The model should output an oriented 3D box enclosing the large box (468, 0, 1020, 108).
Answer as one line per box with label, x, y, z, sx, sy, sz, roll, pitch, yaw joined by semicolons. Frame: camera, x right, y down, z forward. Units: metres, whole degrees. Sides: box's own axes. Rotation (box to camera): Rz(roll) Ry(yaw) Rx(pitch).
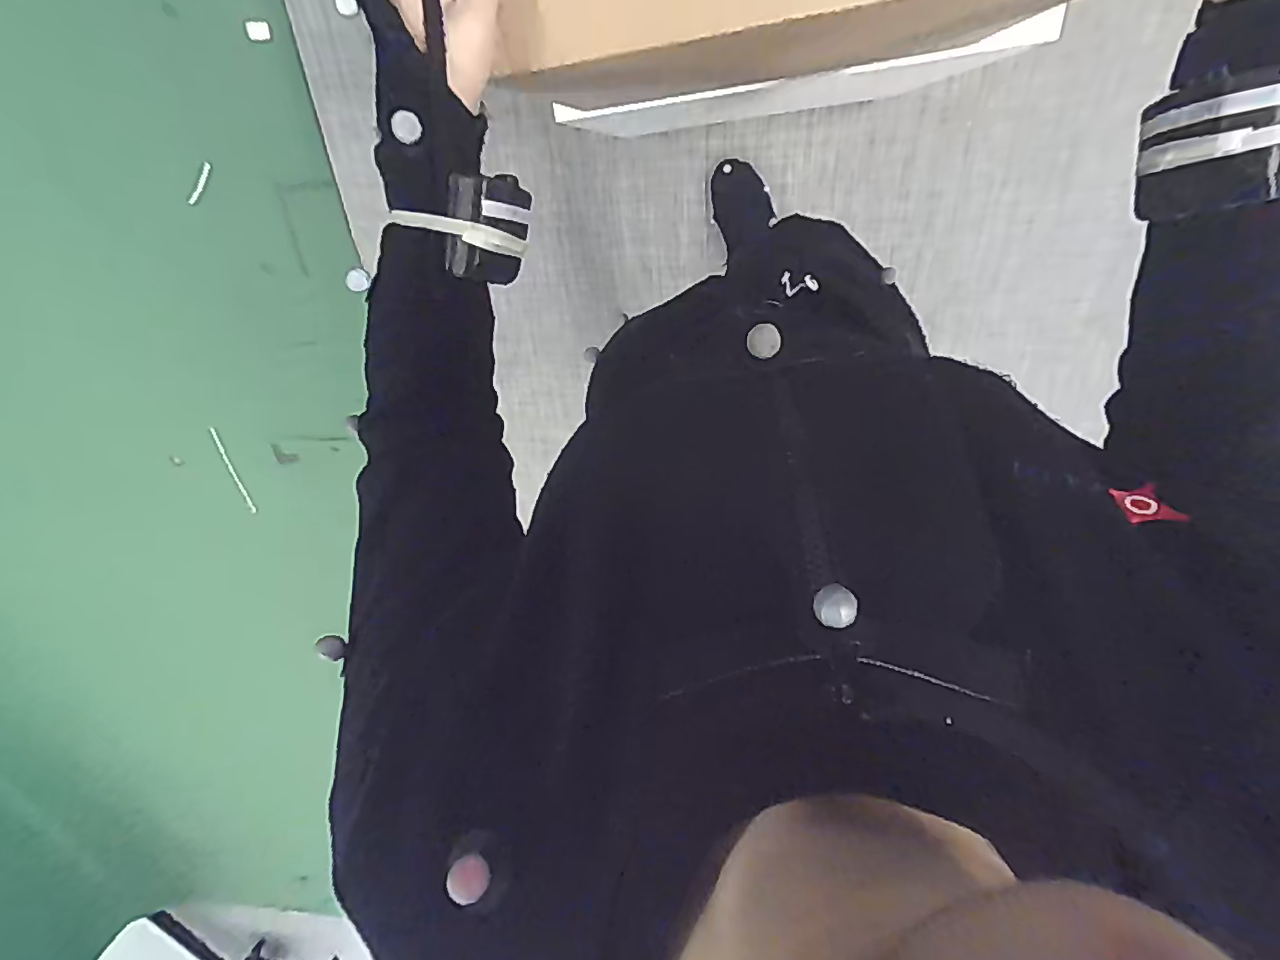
large box;0.088;-0.477;0.357;0.408;0.320;0.320;-4;121;10
